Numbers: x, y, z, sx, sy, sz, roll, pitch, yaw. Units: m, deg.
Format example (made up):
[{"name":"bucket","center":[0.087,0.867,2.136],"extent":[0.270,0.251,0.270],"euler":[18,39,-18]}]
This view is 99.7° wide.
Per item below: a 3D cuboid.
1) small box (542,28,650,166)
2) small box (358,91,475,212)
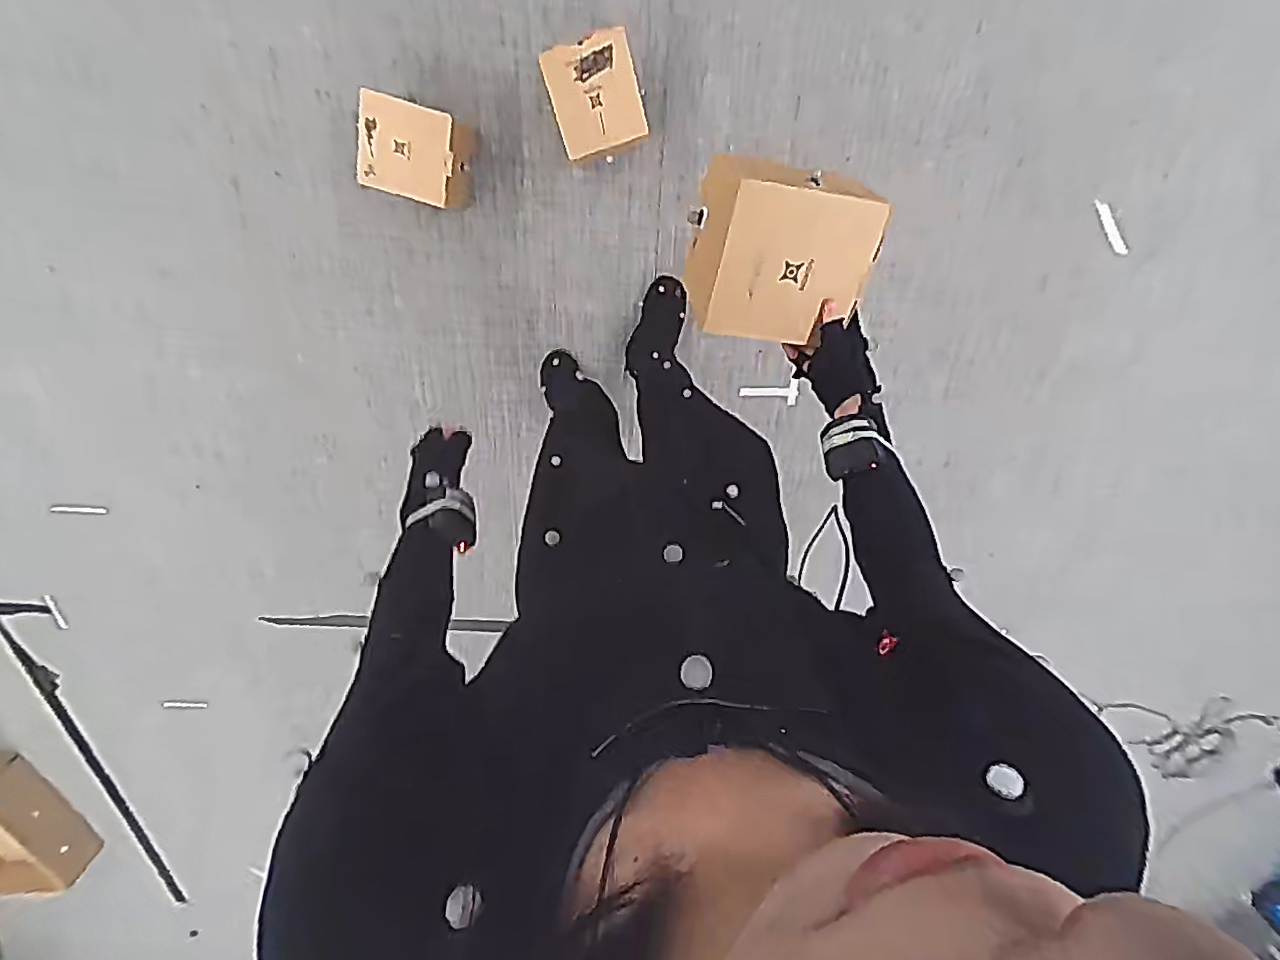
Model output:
[{"name":"small box","center":[-0.083,-0.750,1.080],"extent":[0.168,0.176,0.179],"euler":[-15,117,6]},{"name":"small box","center":[-0.453,-0.668,1.116],"extent":[0.179,0.176,0.168],"euler":[14,115,-8]}]
